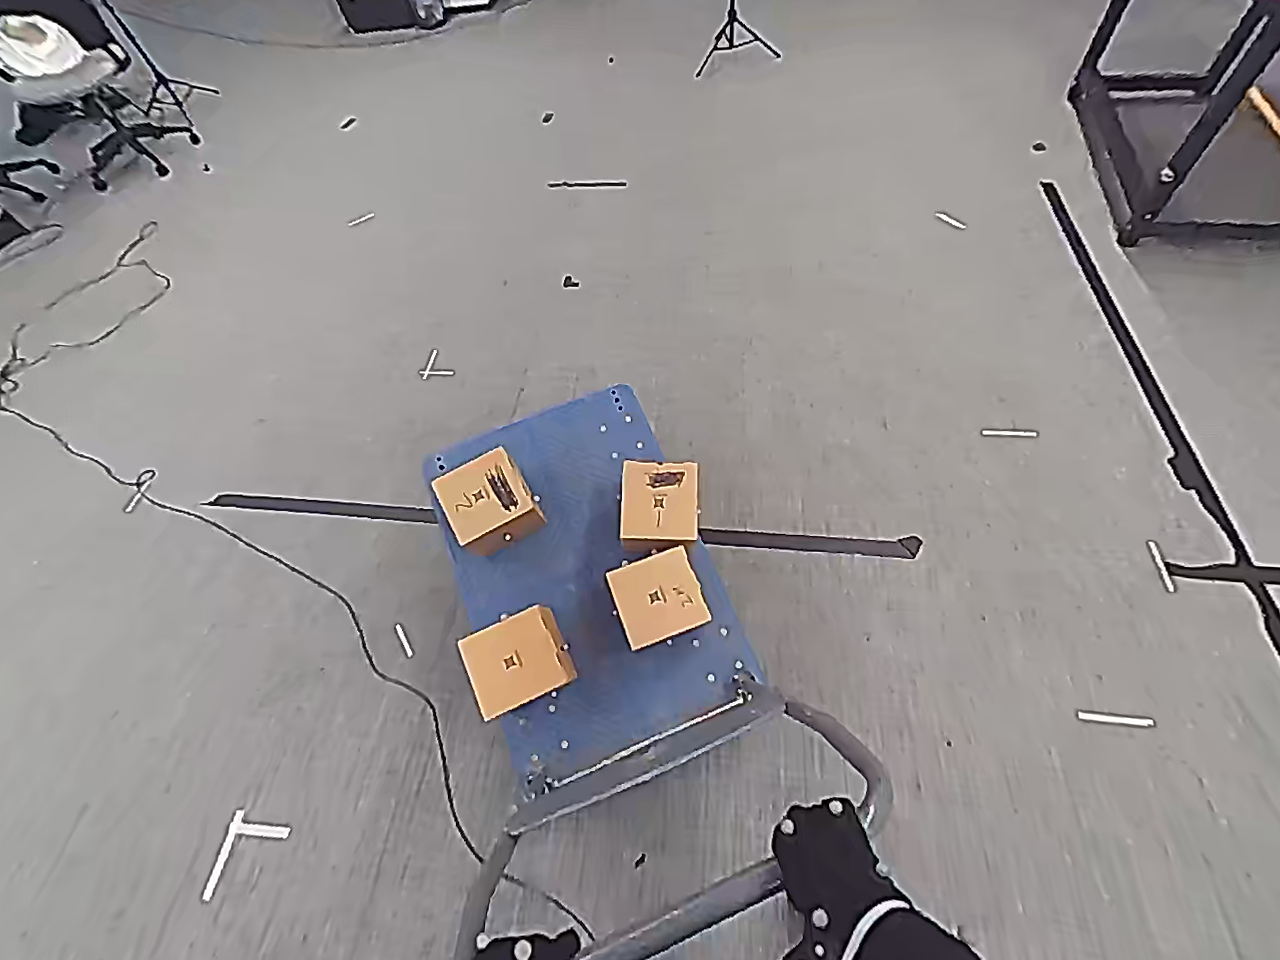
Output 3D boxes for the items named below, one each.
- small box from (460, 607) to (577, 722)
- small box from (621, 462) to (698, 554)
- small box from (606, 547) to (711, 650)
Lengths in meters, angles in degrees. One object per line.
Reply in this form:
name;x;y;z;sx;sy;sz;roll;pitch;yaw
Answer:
small box;-0.249;0.389;1.145;0.179;0.176;0.168;-25;74;-8
small box;0.044;0.069;1.240;0.168;0.176;0.179;1;74;2
small box;0.040;0.265;1.179;0.179;0.176;0.168;-20;74;-5
